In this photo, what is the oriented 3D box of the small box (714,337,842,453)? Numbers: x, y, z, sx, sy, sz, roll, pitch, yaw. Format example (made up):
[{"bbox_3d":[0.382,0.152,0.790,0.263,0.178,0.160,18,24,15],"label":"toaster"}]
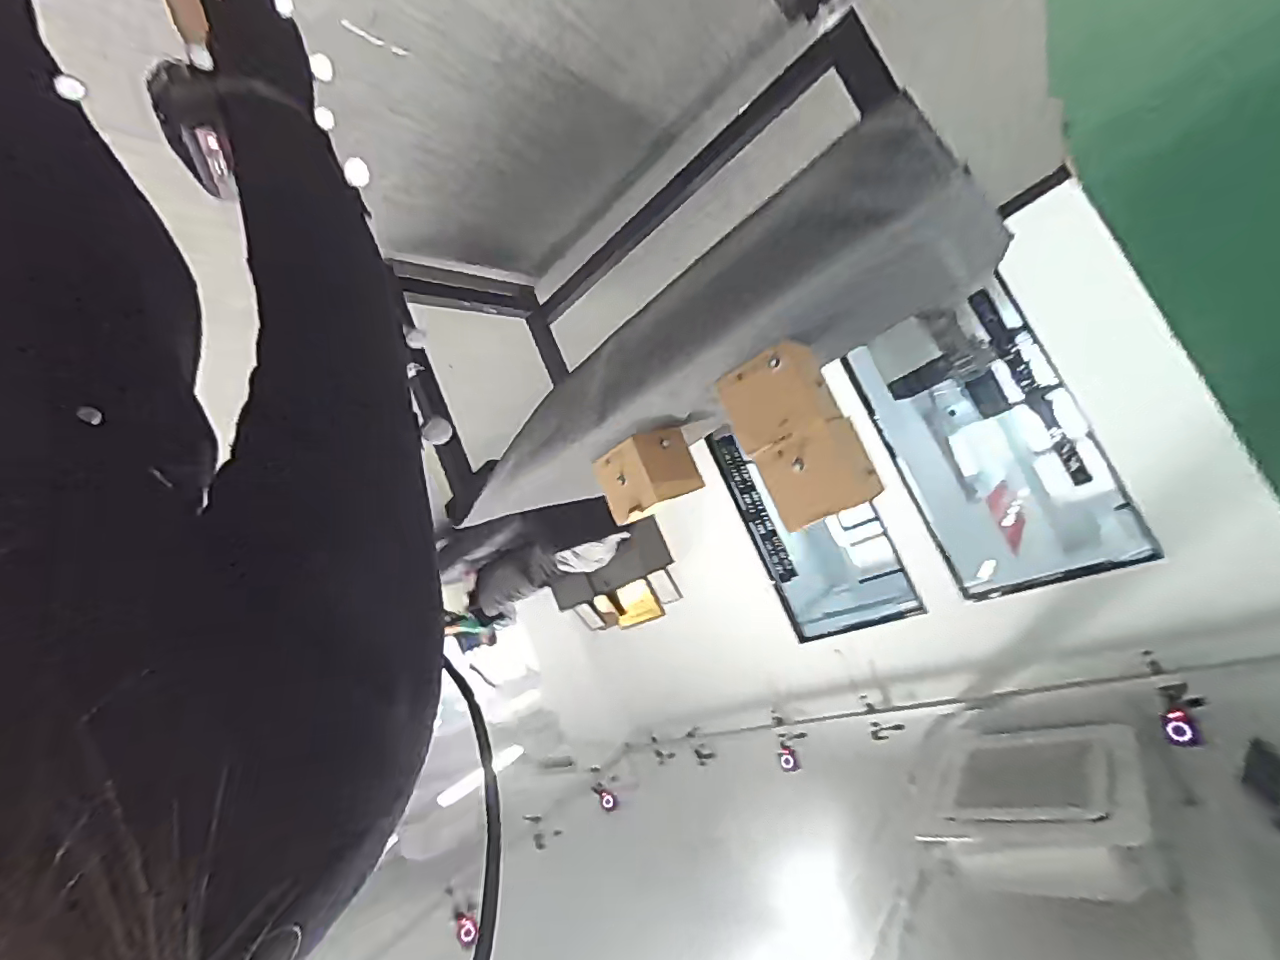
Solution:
[{"bbox_3d":[0.274,-0.170,1.085,0.168,0.176,0.179,-29,172,33],"label":"small box"}]

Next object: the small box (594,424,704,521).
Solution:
[{"bbox_3d":[0.017,-0.021,1.311,0.179,0.176,0.168,-16,168,-44],"label":"small box"}]

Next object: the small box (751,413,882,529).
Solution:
[{"bbox_3d":[0.352,-0.024,1.075,0.168,0.176,0.179,-30,170,35],"label":"small box"}]
